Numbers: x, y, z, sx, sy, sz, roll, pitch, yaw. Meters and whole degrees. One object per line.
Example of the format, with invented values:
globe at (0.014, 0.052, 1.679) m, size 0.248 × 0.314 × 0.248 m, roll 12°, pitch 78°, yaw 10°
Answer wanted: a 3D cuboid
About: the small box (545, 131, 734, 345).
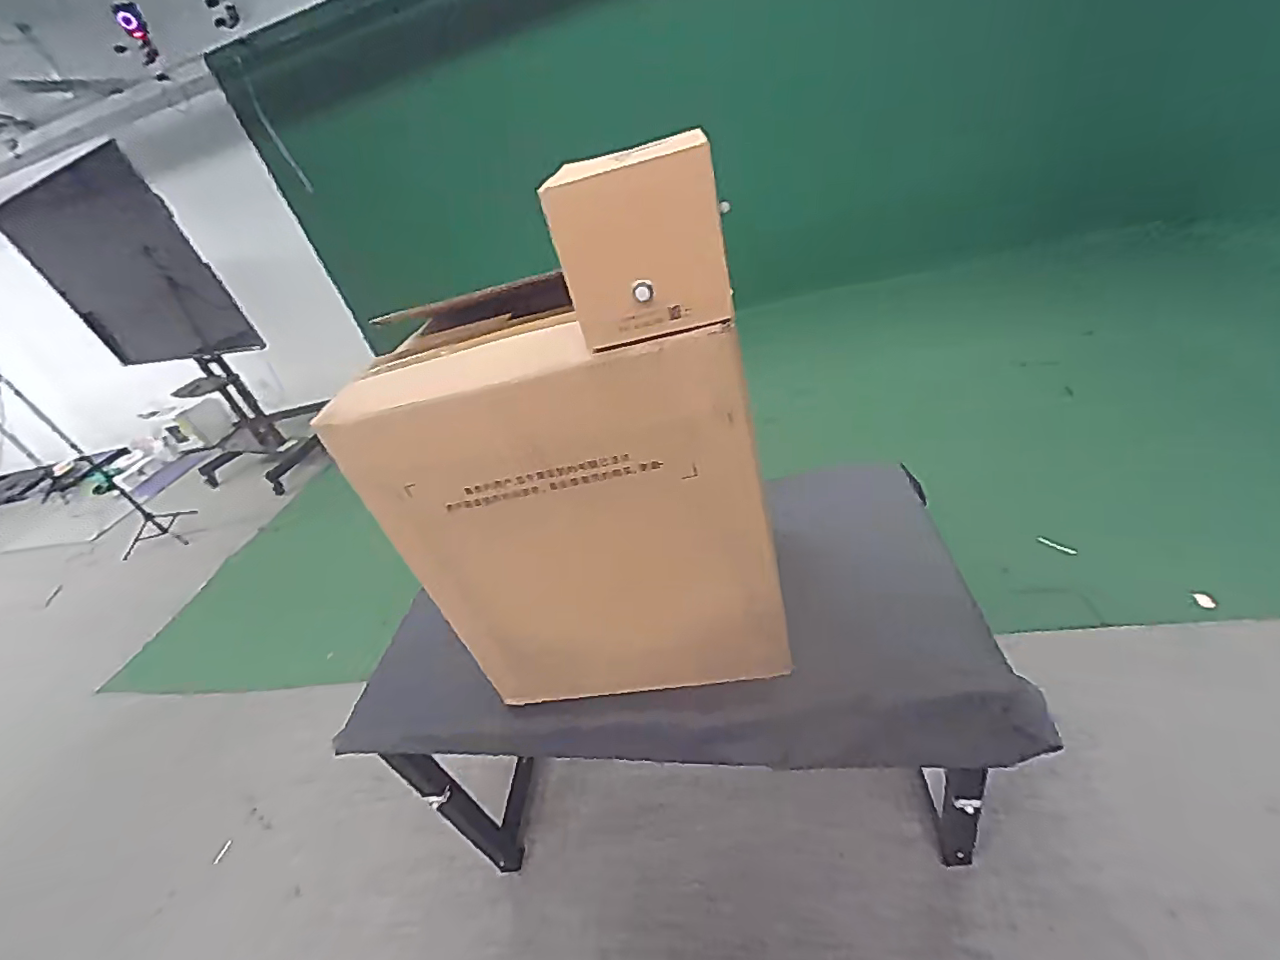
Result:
small box at (0.010, -0.273, 0.613) m, size 0.168 × 0.176 × 0.179 m, roll -9°, pitch 36°, yaw 11°
